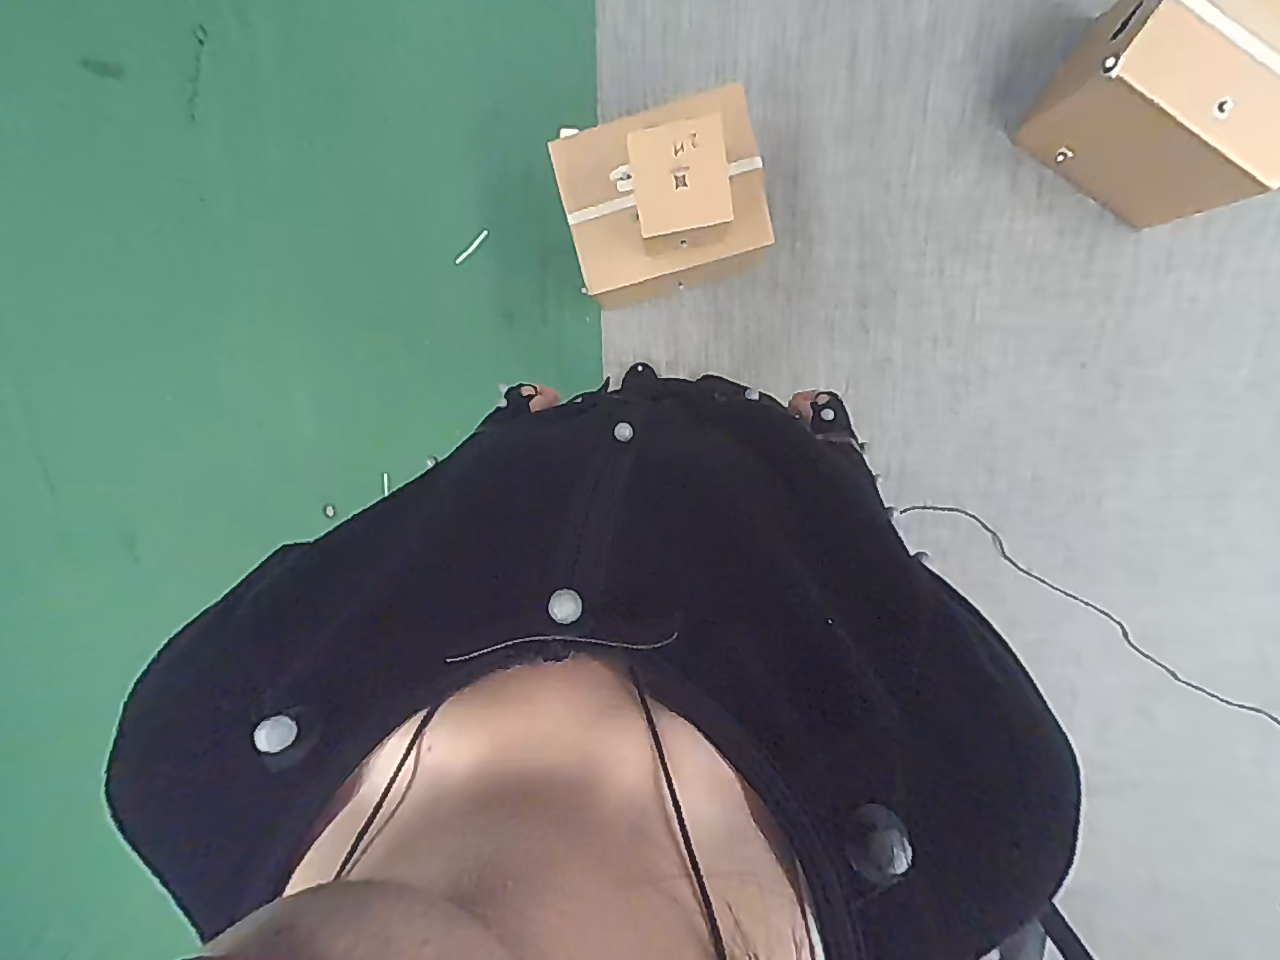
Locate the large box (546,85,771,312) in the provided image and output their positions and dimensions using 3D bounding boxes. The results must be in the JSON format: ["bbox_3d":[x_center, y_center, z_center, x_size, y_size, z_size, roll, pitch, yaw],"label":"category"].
[{"bbox_3d":[0.049,-0.605,1.241,0.408,0.320,0.320,-14,99,7],"label":"large box"}]

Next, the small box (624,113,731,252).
[{"bbox_3d":[0.069,-0.534,1.002,0.168,0.176,0.179,-9,101,3],"label":"small box"}]
